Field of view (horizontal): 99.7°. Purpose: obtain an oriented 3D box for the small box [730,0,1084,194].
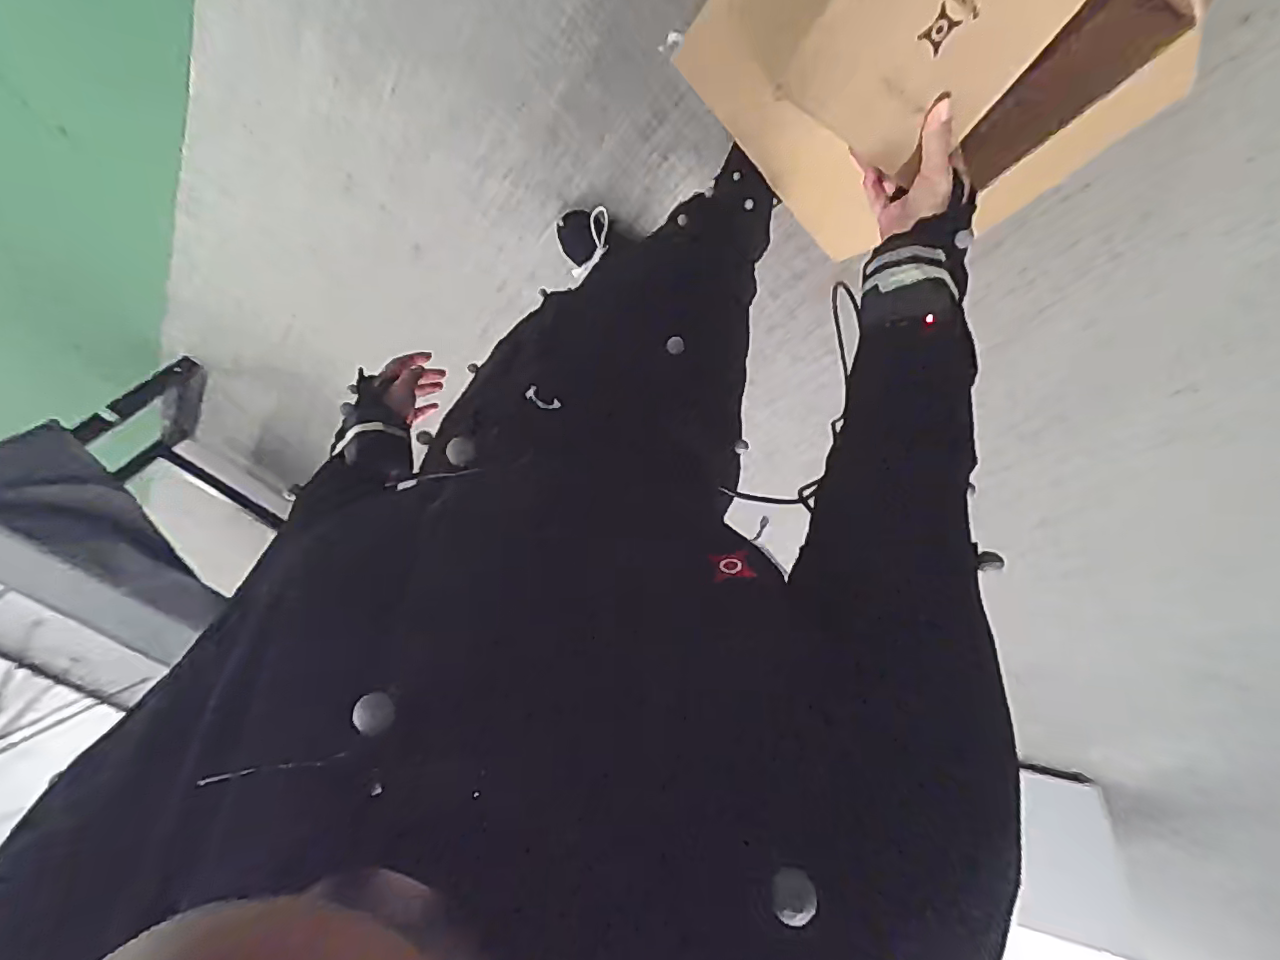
[{"bbox_3d":[0.194,-0.376,0.421,0.168,0.176,0.179,12,138,-29],"label":"small box"}]
